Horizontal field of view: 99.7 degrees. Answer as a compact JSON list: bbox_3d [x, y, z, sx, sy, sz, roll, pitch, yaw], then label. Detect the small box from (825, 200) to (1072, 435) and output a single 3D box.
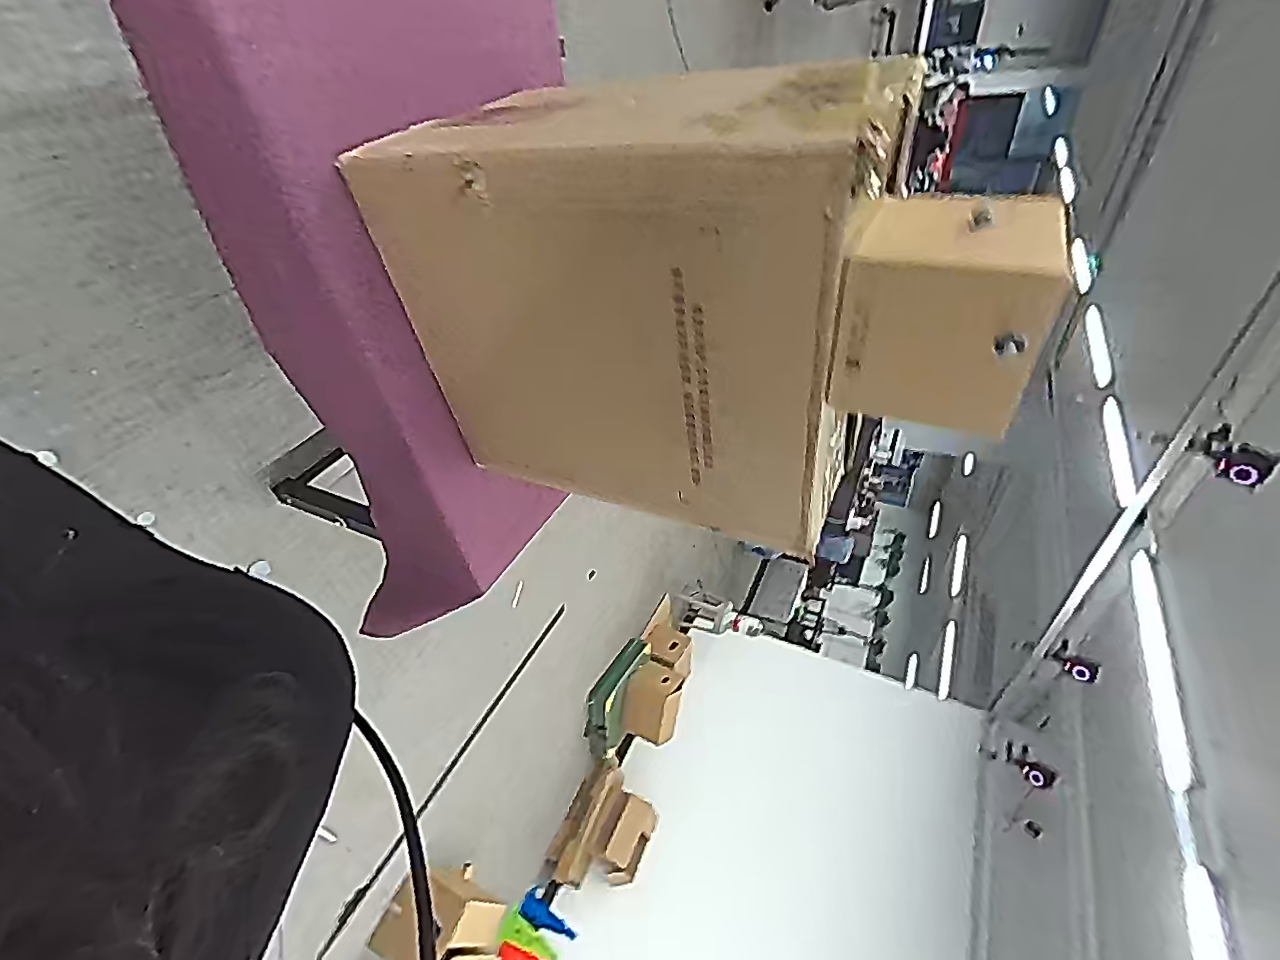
[{"bbox_3d":[0.302,-0.175,0.555,0.179,0.176,0.168,-56,150,-39],"label":"small box"}]
